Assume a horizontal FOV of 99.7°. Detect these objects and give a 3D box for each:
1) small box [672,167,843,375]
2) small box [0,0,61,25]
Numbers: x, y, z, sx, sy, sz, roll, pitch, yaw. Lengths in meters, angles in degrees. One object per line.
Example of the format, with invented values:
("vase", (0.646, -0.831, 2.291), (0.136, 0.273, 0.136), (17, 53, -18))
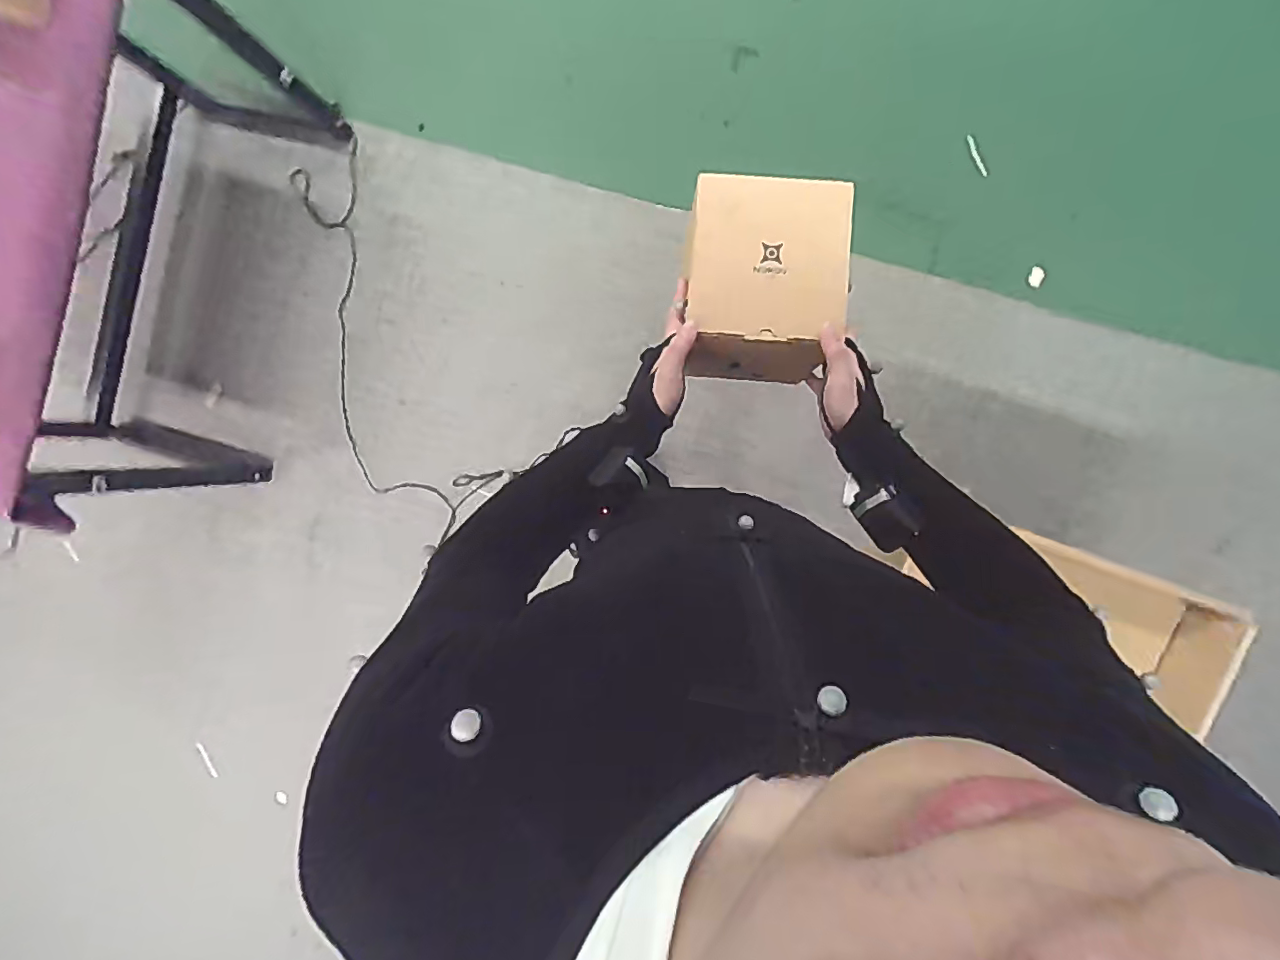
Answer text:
("small box", (0.127, -0.234, 0.642), (0.168, 0.176, 0.179), (3, 88, 1))
("small box", (-1.167, -0.948, 0.940), (0.179, 0.176, 0.168), (20, 97, 7))
